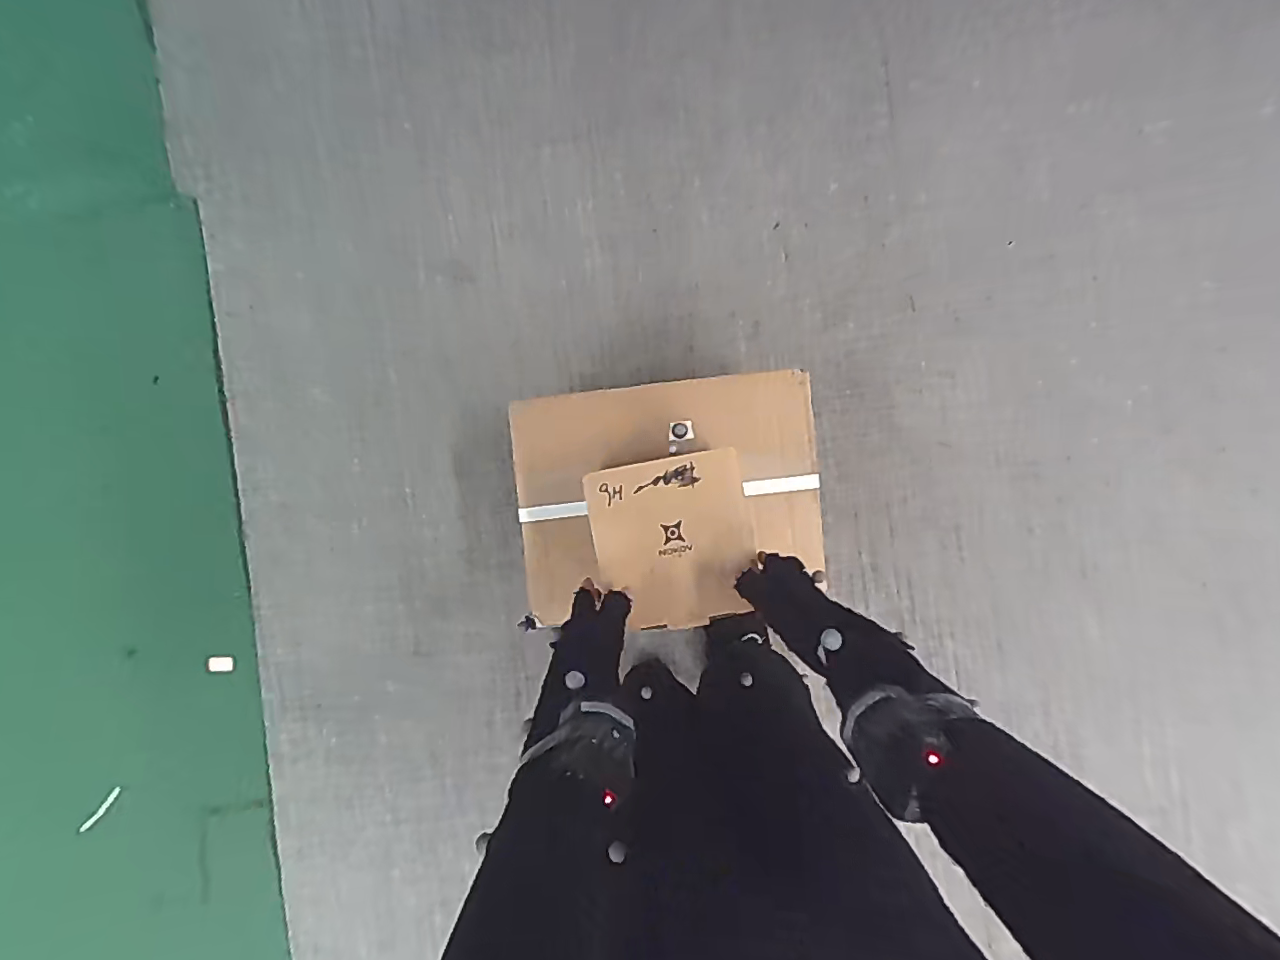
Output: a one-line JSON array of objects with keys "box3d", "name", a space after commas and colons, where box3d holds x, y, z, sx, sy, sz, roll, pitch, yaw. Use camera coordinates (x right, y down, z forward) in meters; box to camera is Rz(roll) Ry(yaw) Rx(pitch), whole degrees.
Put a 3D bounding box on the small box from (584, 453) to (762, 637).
[{"box3d": [0.039, 0.065, 0.643, 0.168, 0.176, 0.179, -10, 92, 2], "name": "small box"}]
